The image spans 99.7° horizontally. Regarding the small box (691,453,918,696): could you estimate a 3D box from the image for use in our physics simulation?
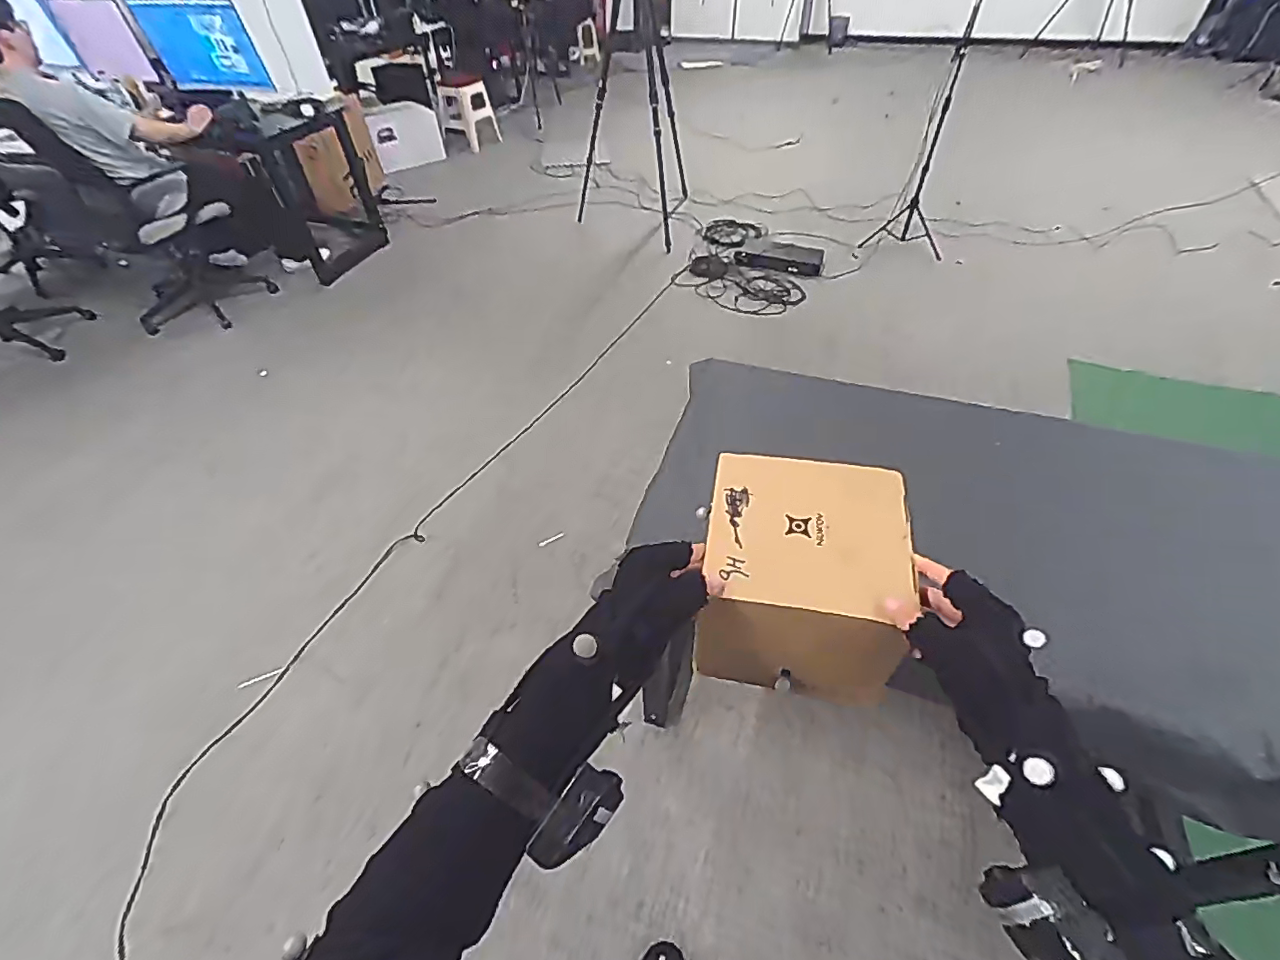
[{"bbox_3d":[0.152,0.099,0.546,0.179,0.176,0.168,8,48,9],"label":"small box"}]
